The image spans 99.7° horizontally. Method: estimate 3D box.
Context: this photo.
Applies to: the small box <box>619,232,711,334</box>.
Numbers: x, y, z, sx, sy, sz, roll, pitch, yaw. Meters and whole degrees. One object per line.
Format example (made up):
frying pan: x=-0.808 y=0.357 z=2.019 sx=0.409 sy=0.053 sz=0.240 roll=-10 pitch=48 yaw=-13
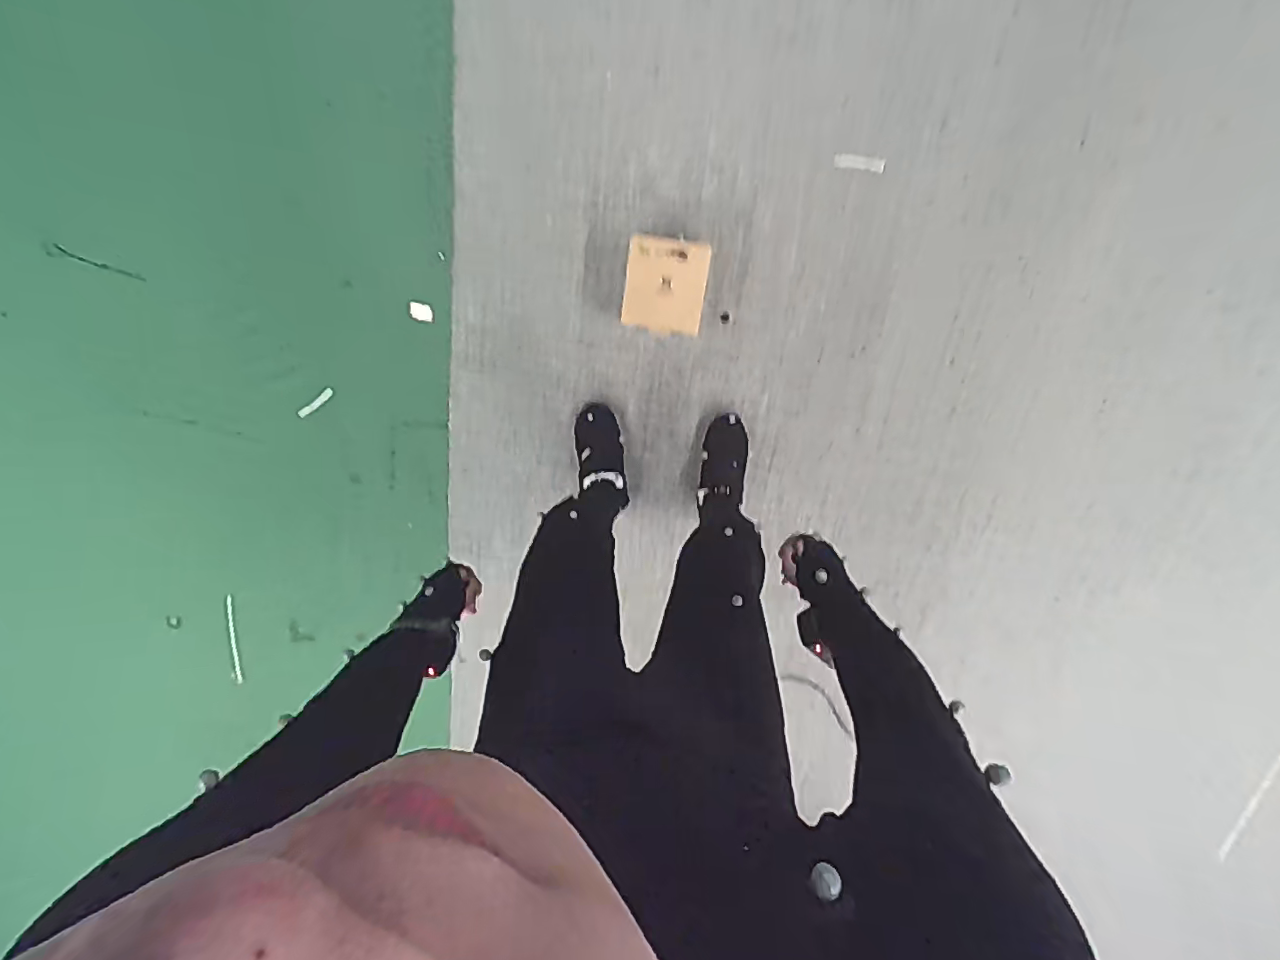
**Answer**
small box: x=0.053 y=-0.422 z=1.168 sx=0.168 sy=0.176 sz=0.179 roll=9 pitch=109 yaw=-1
